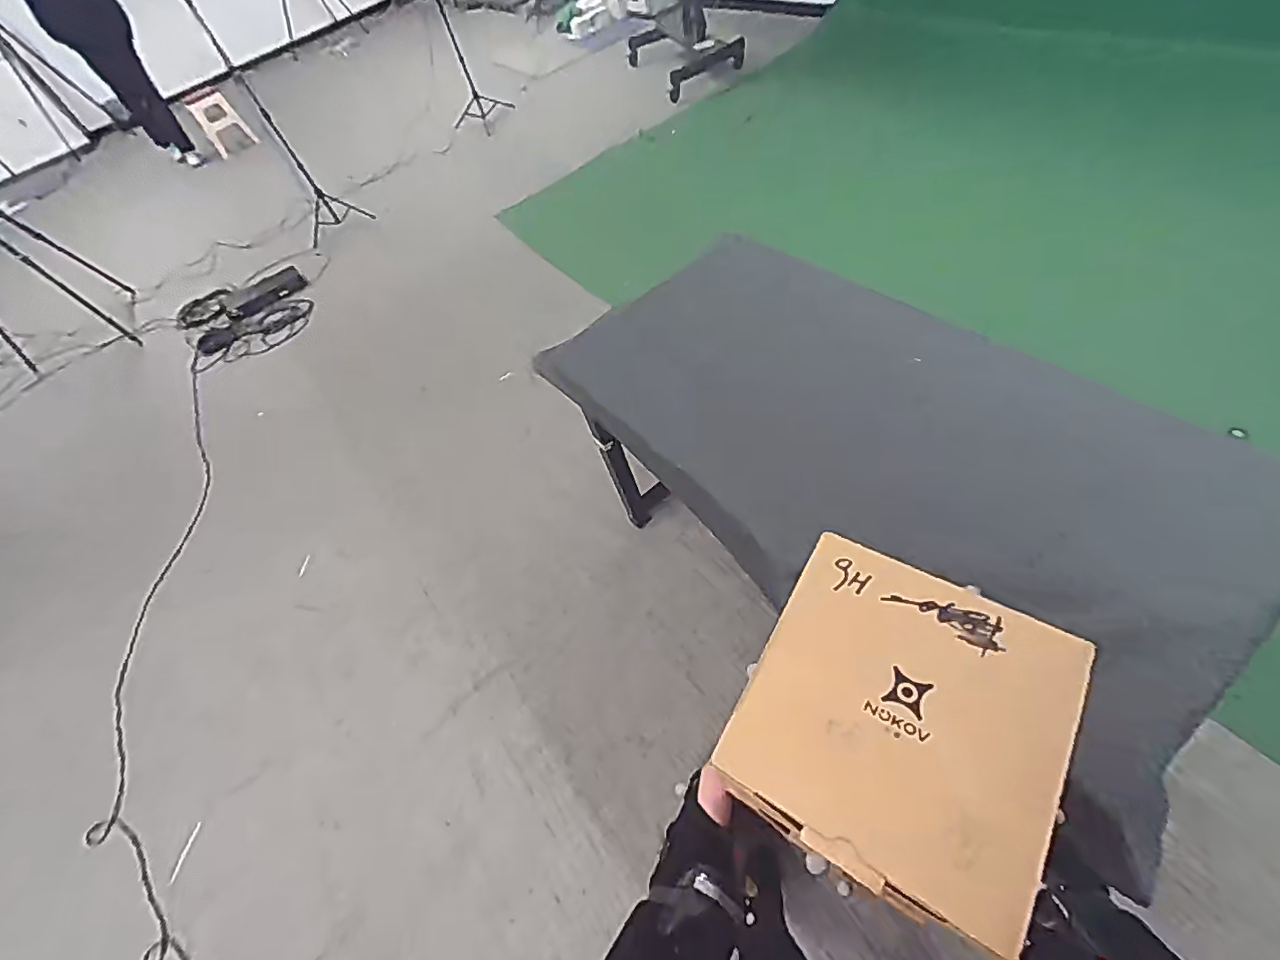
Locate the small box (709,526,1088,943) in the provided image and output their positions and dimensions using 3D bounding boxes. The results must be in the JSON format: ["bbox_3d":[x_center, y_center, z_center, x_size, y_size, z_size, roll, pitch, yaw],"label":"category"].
[{"bbox_3d":[0.169,0.170,0.390,0.168,0.176,0.179,25,67,25],"label":"small box"}]
